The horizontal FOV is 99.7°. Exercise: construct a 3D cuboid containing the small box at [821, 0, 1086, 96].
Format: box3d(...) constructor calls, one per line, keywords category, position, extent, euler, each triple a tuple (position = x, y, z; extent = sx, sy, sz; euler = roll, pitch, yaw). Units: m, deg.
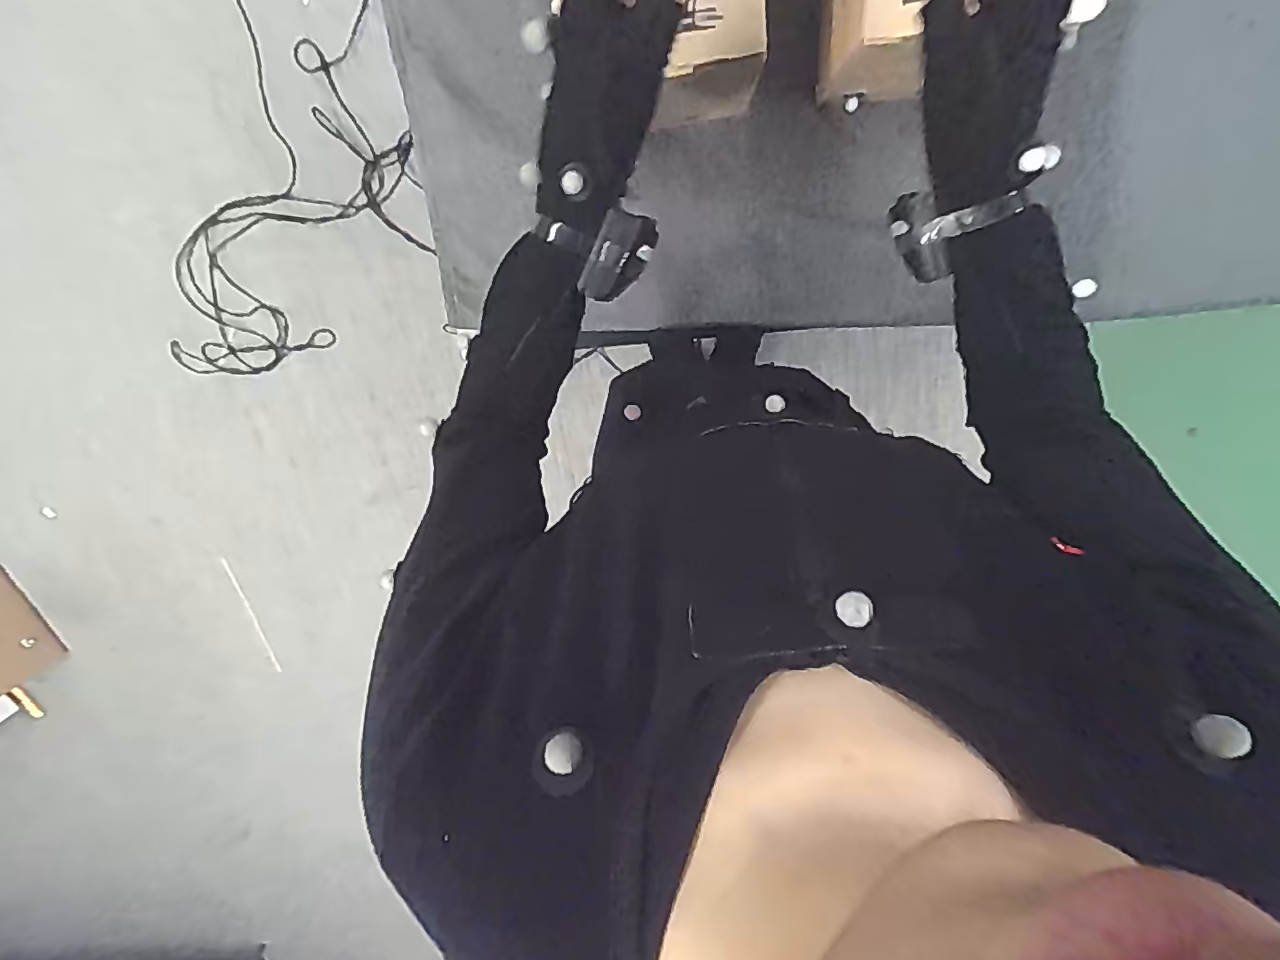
box3d(category="small box", position=(0.261, -0.453, 0.464), extent=(0.168, 0.176, 0.179), euler=(0, 110, 5))
